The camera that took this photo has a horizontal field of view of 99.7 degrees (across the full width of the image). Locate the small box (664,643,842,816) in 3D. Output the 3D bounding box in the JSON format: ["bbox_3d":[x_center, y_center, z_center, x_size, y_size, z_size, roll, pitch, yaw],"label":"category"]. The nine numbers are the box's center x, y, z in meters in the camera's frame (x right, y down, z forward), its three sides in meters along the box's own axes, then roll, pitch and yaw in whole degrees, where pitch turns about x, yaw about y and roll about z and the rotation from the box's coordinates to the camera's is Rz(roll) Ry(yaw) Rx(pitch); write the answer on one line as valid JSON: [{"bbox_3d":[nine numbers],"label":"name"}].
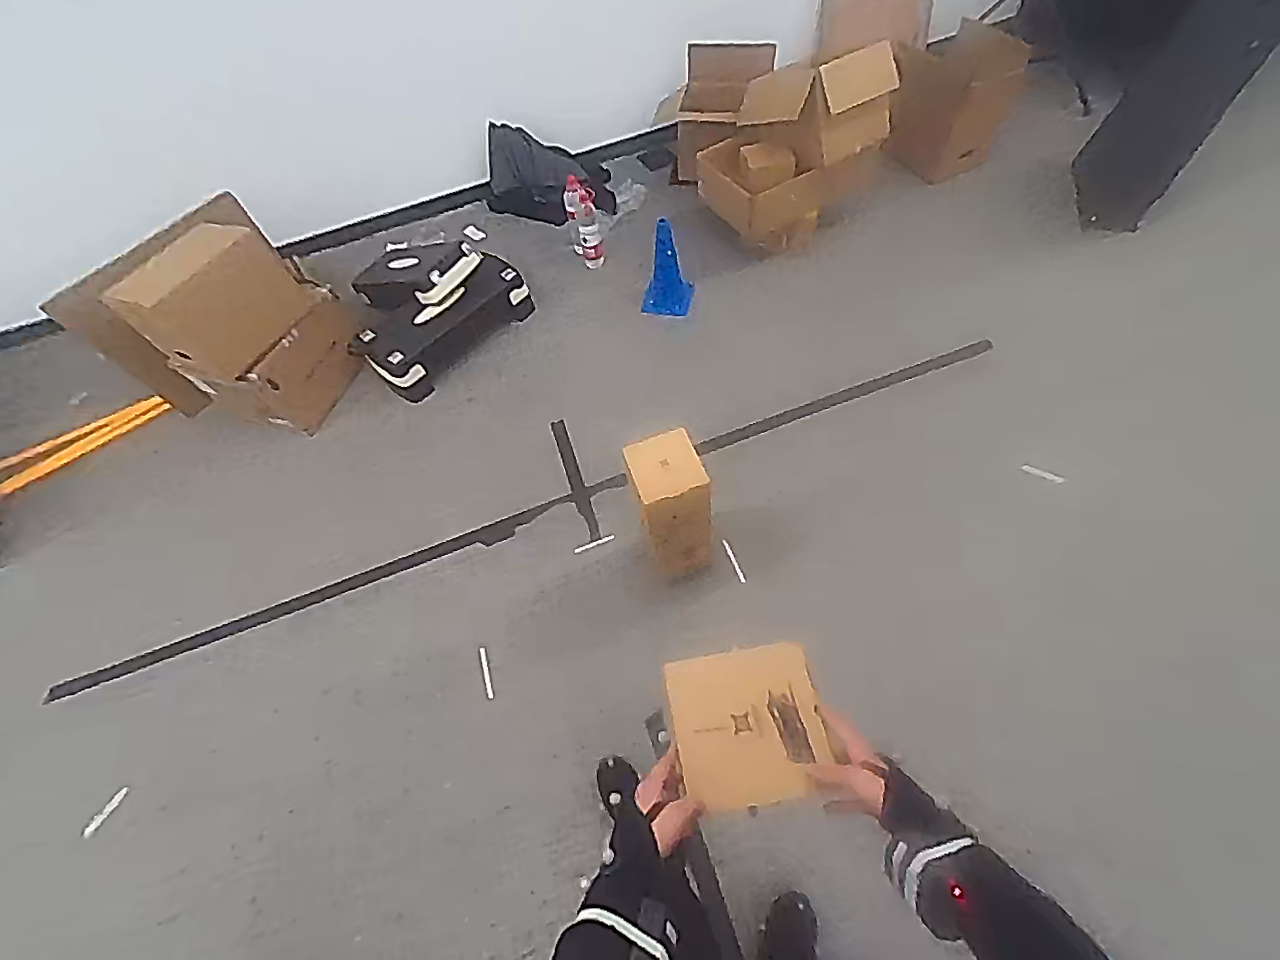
[{"bbox_3d":[0.130,0.321,0.701,0.179,0.176,0.168,-9,62,-2],"label":"small box"}]

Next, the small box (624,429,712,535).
[{"bbox_3d":[0.069,0.008,1.349,0.168,0.176,0.179,-20,59,-5],"label":"small box"}]

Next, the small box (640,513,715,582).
[{"bbox_3d":[0.112,0.179,1.626,0.168,0.176,0.179,-23,60,-6],"label":"small box"}]
